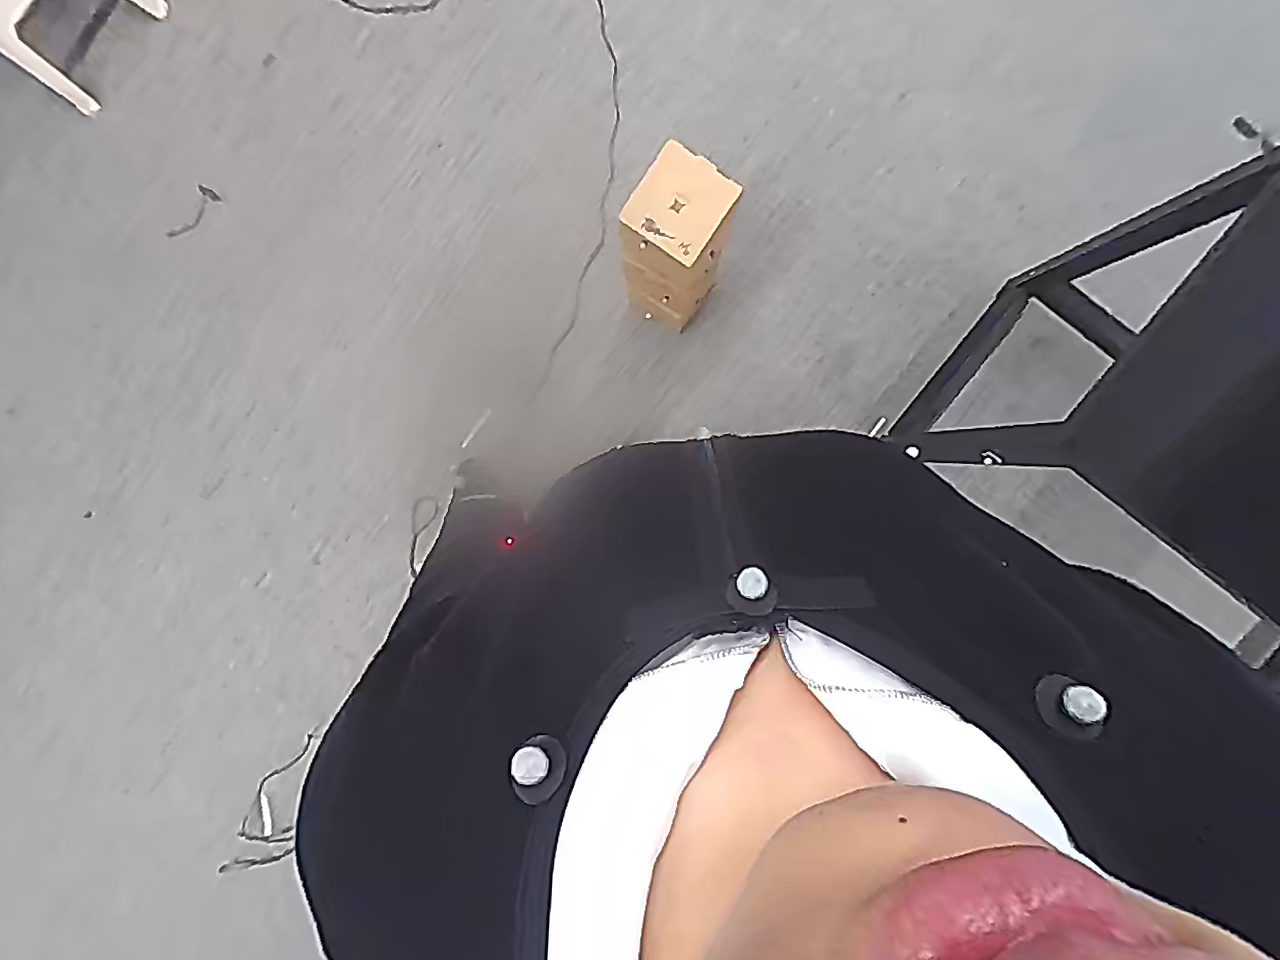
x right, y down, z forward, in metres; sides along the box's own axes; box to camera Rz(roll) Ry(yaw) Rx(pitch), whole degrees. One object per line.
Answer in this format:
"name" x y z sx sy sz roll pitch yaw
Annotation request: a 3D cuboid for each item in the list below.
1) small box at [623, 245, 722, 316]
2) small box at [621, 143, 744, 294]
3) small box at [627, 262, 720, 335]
"small box" 0.078 -0.504 1.237 0.168 0.176 0.179 31 92 0
"small box" 0.079 -0.506 1.072 0.168 0.176 0.179 35 93 1
"small box" 0.084 -0.504 1.399 0.168 0.176 0.179 35 94 1
